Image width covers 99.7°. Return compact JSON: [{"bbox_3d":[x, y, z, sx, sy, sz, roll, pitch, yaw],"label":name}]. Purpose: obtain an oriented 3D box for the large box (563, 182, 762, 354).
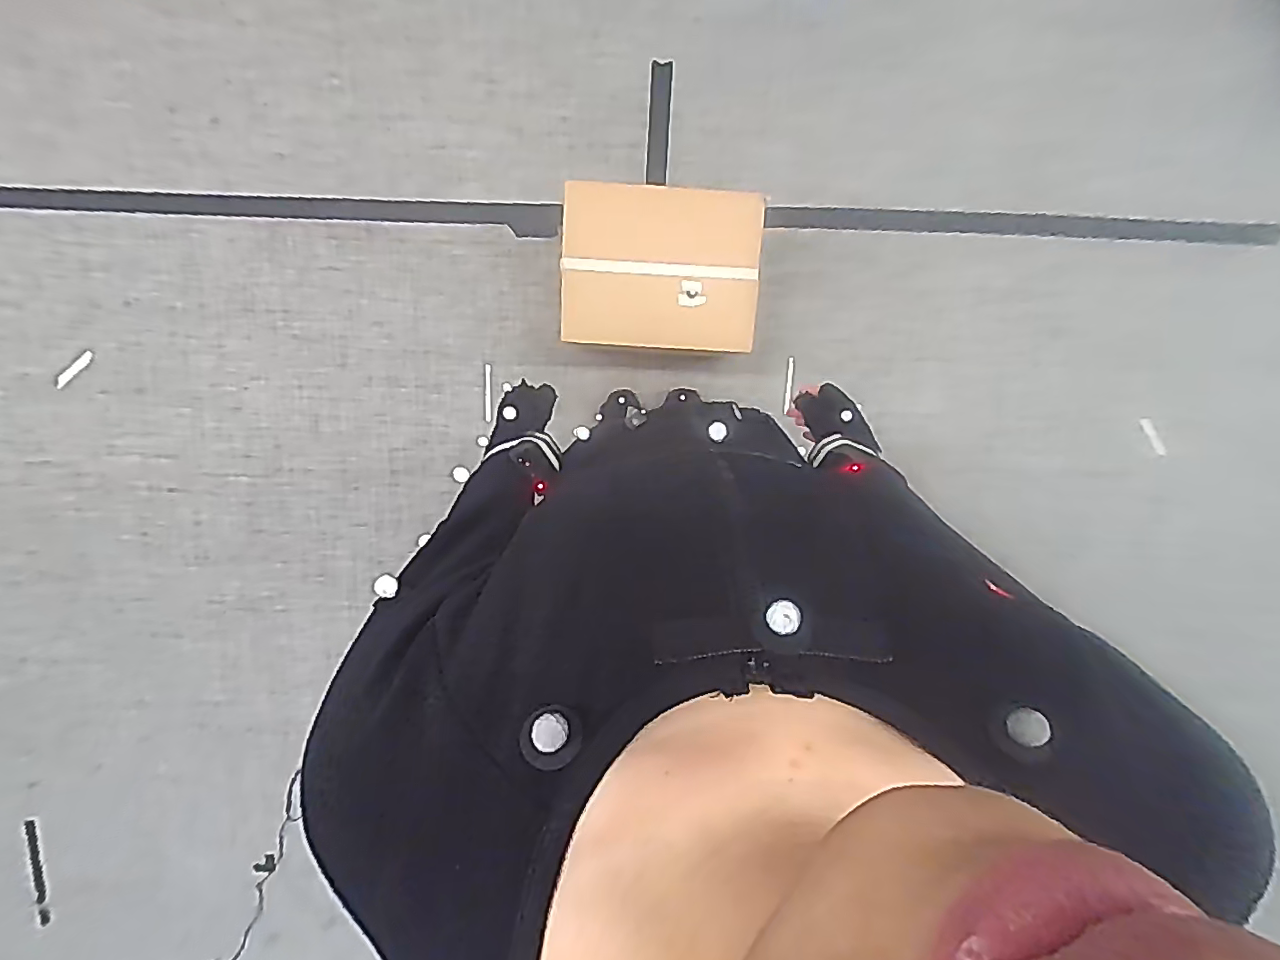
[{"bbox_3d":[0.036,-0.461,1.251,0.408,0.320,0.320,3,102,-2],"label":"large box"}]
